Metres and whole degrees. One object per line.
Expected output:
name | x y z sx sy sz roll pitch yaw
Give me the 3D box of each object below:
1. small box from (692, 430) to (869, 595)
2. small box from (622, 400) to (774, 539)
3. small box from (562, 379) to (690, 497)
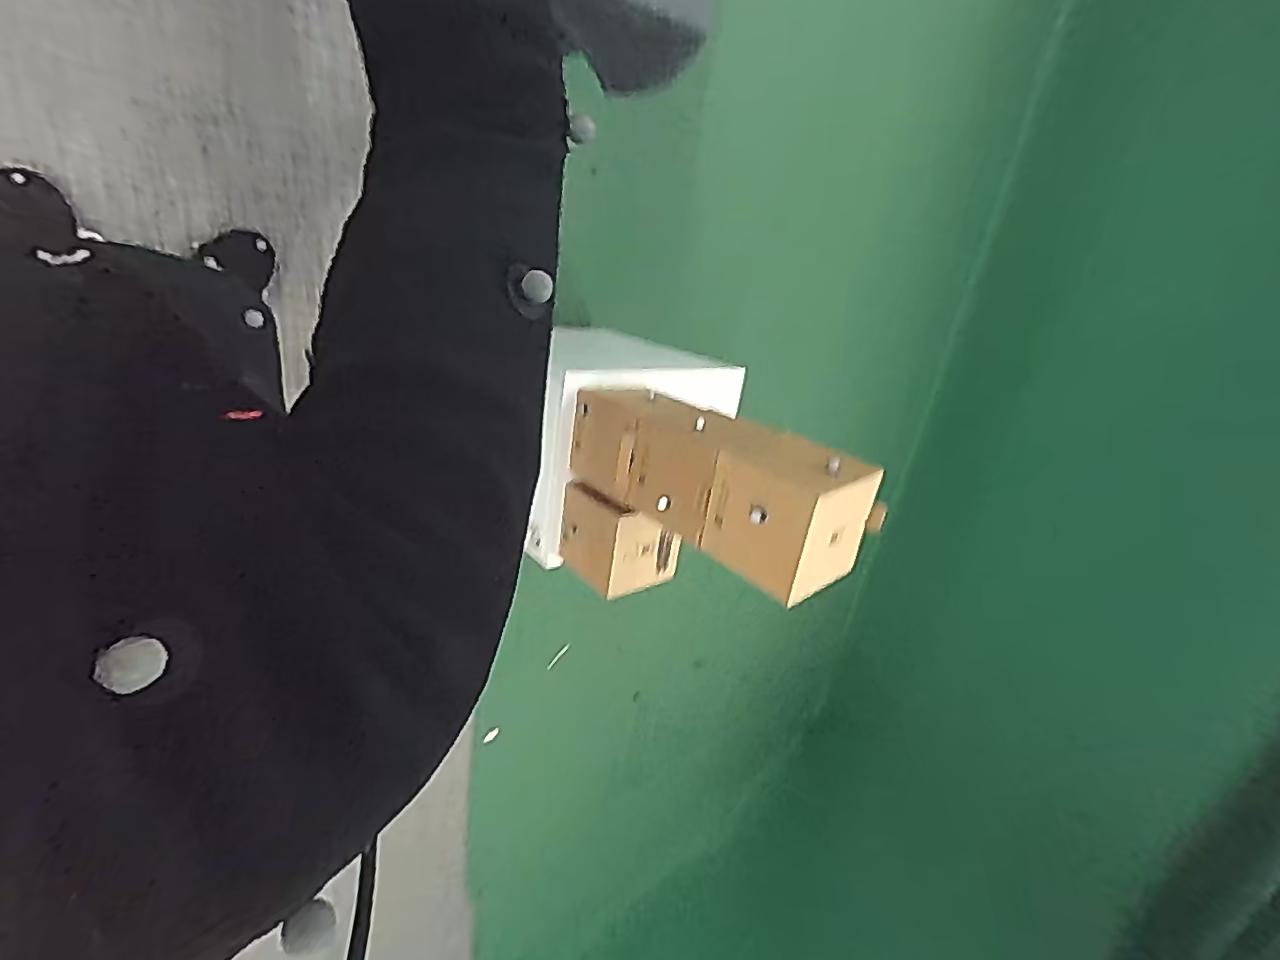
small box | 0.200 0.036 0.800 0.179 0.176 0.168 -16 124 -40
small box | 0.090 -0.028 0.901 0.179 0.176 0.168 -15 124 -41
small box | -0.024 -0.086 1.001 0.179 0.176 0.168 -11 121 -42
